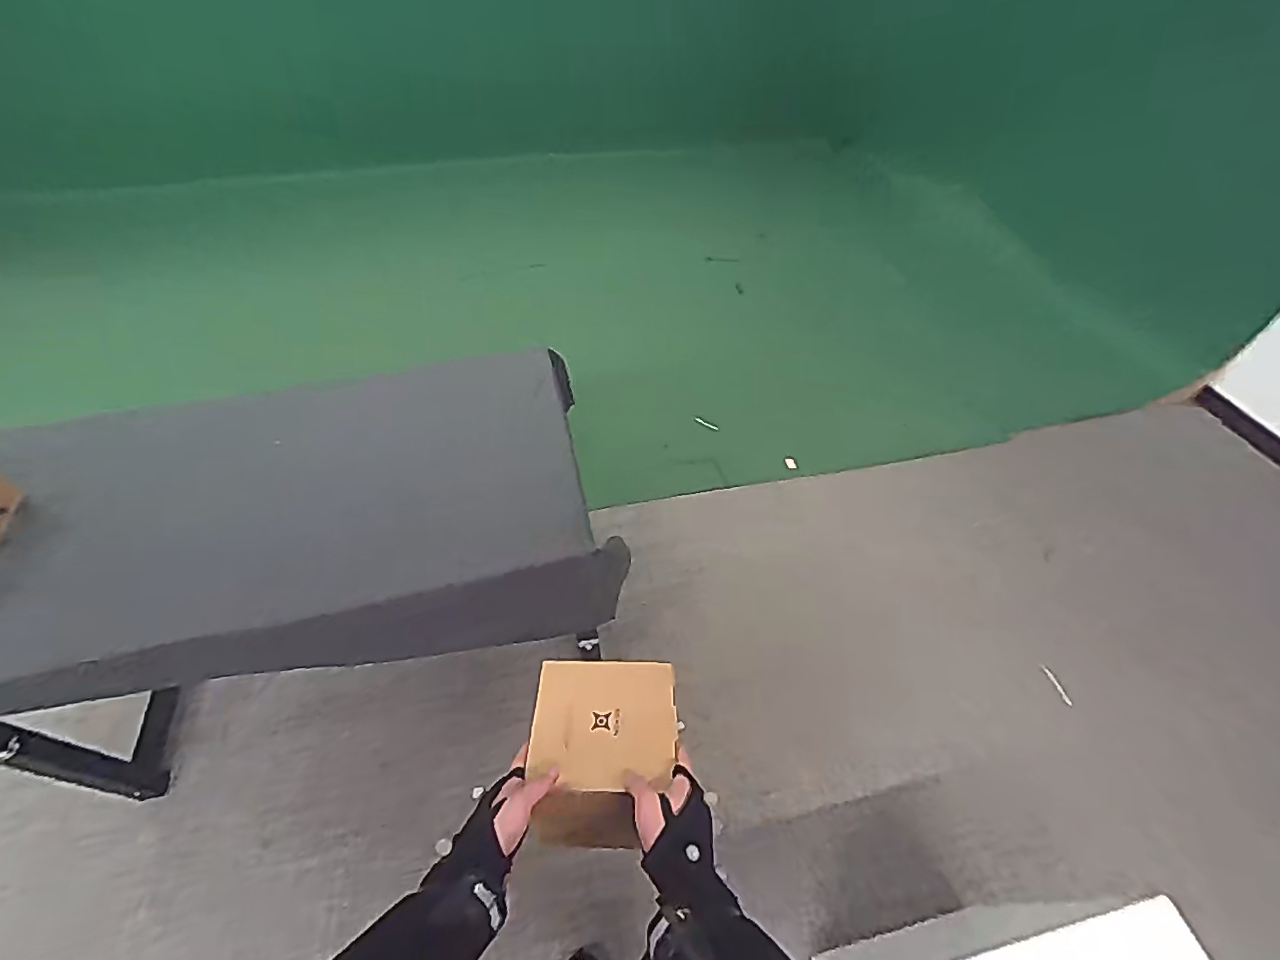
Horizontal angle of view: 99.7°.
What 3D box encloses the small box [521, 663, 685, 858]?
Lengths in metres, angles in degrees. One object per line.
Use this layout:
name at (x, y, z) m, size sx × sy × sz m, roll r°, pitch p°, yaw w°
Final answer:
small box at (-0.043, 0.352, 0.681) m, size 0.179 × 0.176 × 0.168 m, roll -1°, pitch 36°, yaw -2°
